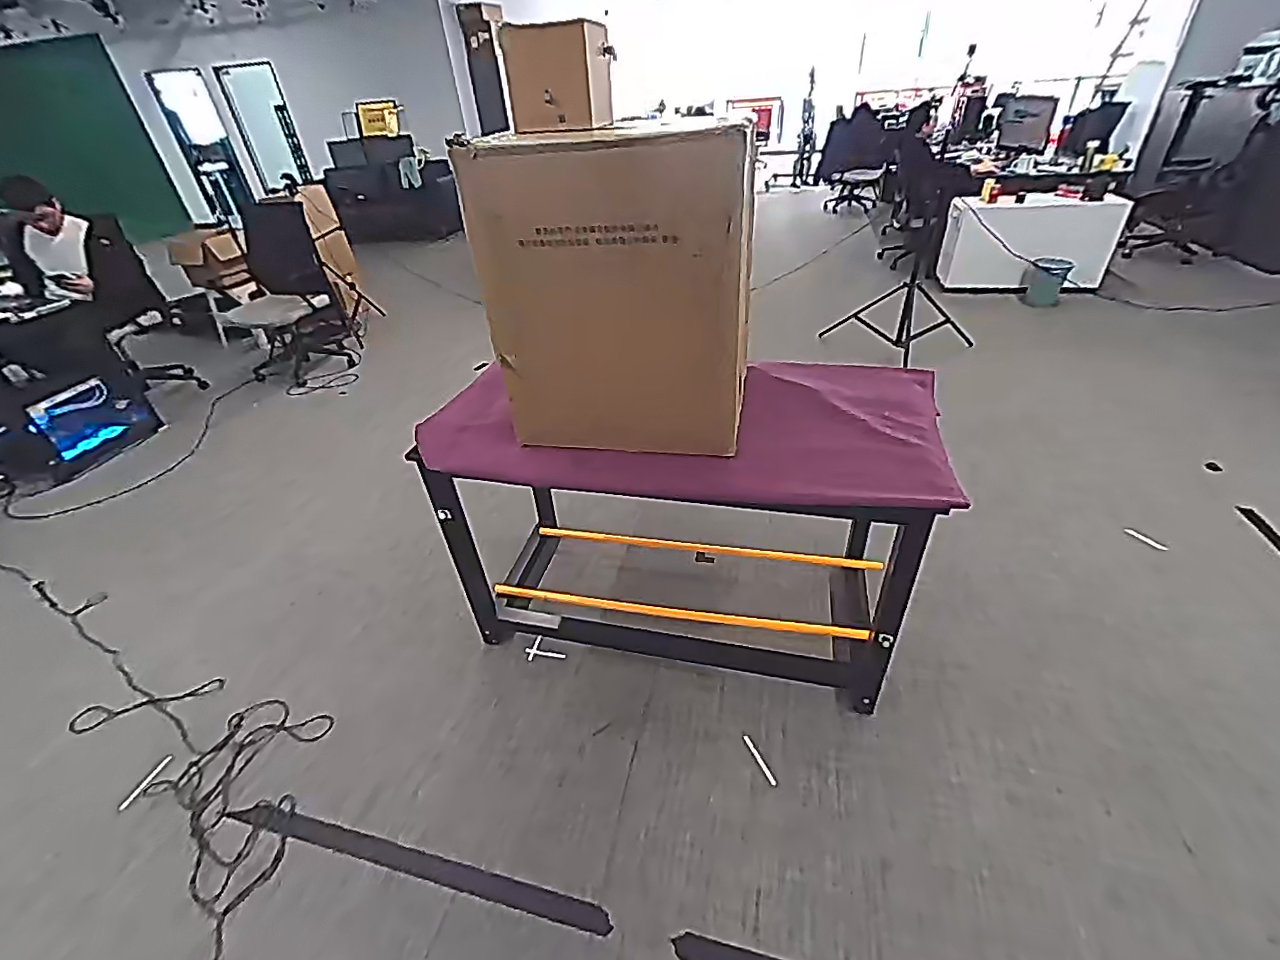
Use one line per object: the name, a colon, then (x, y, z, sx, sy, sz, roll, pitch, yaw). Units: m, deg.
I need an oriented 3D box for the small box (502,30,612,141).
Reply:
small box: (-0.158, -0.795, 1.101, 0.168, 0.176, 0.179, 4, 37, 12)
